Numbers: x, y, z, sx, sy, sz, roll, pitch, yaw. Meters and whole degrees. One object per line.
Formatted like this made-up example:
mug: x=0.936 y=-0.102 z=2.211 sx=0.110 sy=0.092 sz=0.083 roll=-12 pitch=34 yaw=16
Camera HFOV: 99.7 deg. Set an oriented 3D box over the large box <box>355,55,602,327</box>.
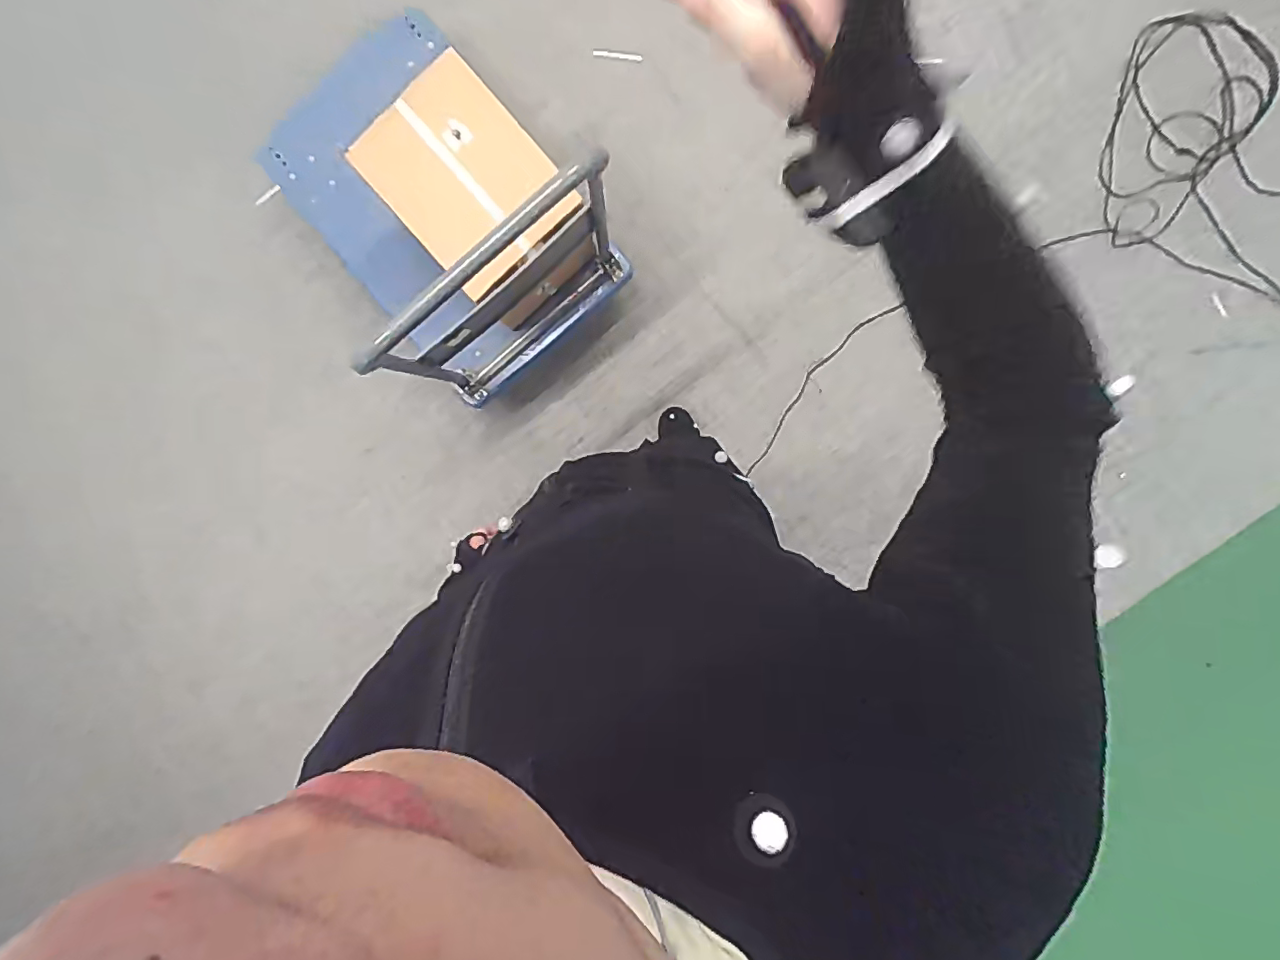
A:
large box: x=-0.344 y=-0.634 z=1.266 sx=0.320 sy=0.320 sz=0.408 roll=-41 pitch=92 yaw=4
